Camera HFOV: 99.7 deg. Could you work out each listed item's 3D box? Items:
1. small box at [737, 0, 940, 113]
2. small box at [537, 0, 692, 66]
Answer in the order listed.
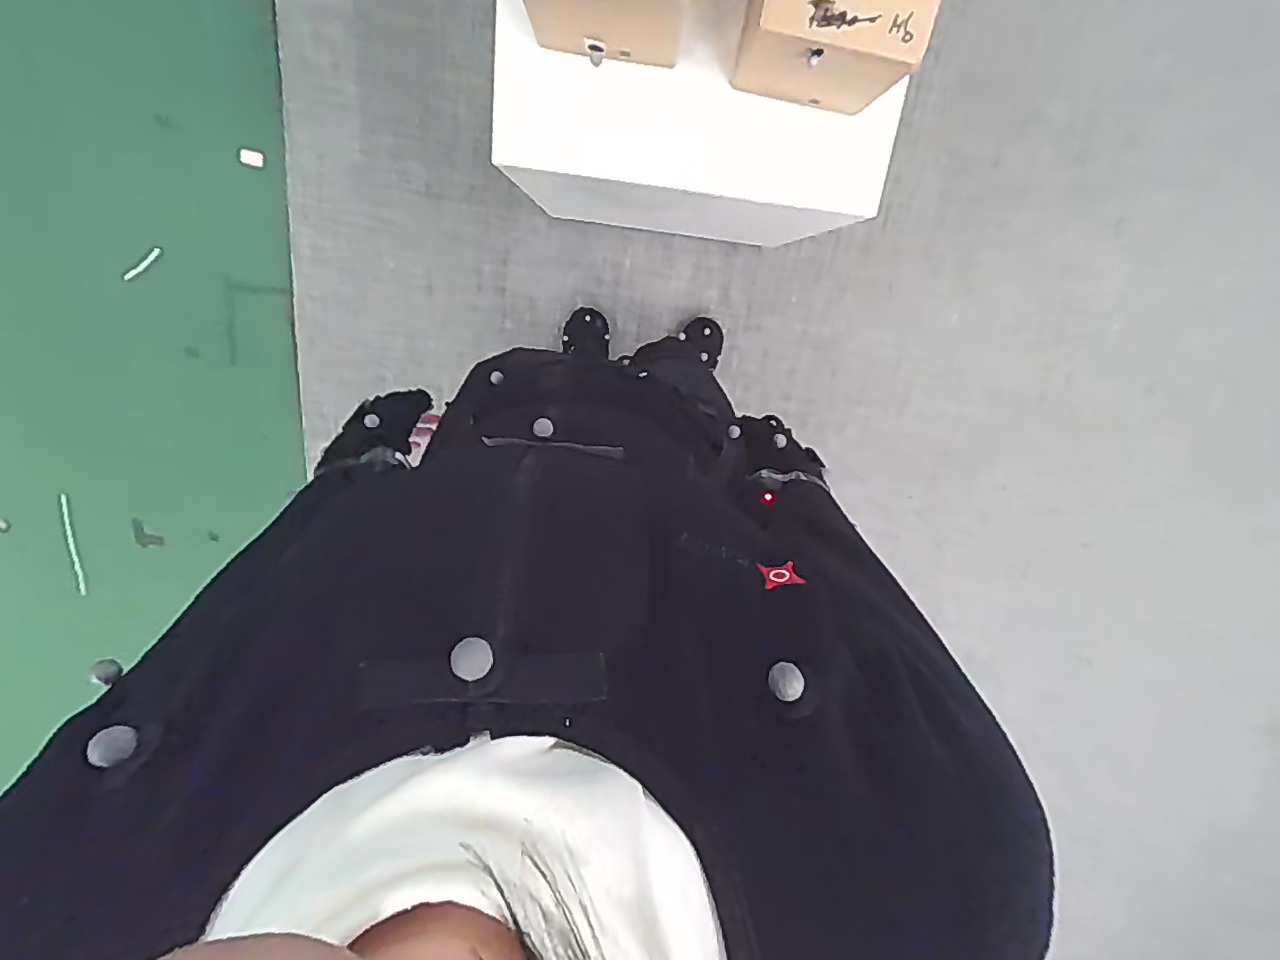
[{"bbox_3d":[0.209,-0.527,0.569,0.168,0.176,0.179,10,109,-4],"label":"small box"},{"bbox_3d":[-0.023,-0.569,0.556,0.168,0.176,0.179,5,111,-1],"label":"small box"}]
